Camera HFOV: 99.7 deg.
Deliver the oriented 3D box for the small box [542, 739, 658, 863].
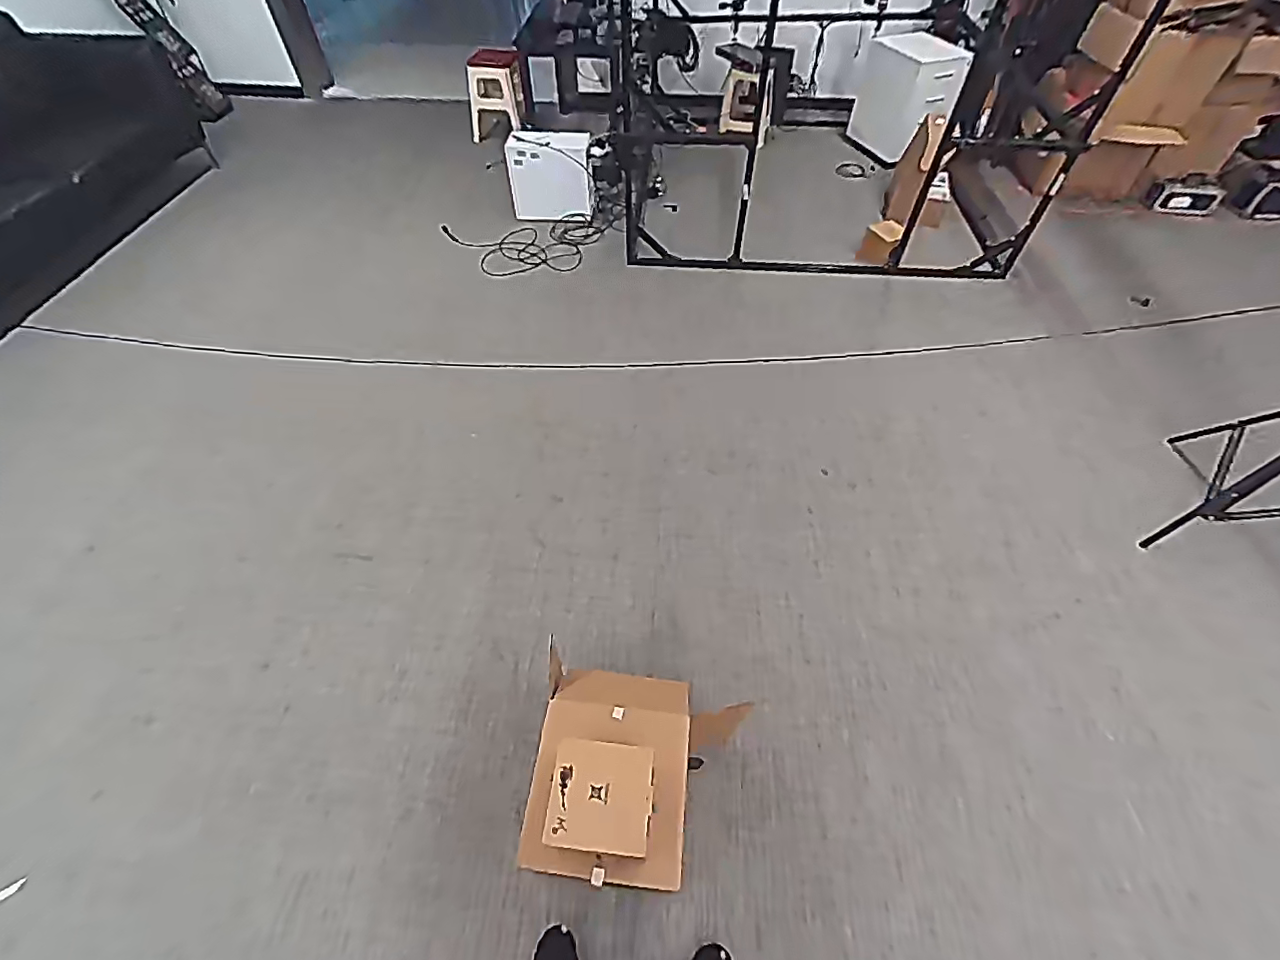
[{"bbox_3d":[-0.065,0.587,0.984,0.179,0.176,0.168,6,53,4],"label":"small box"}]
